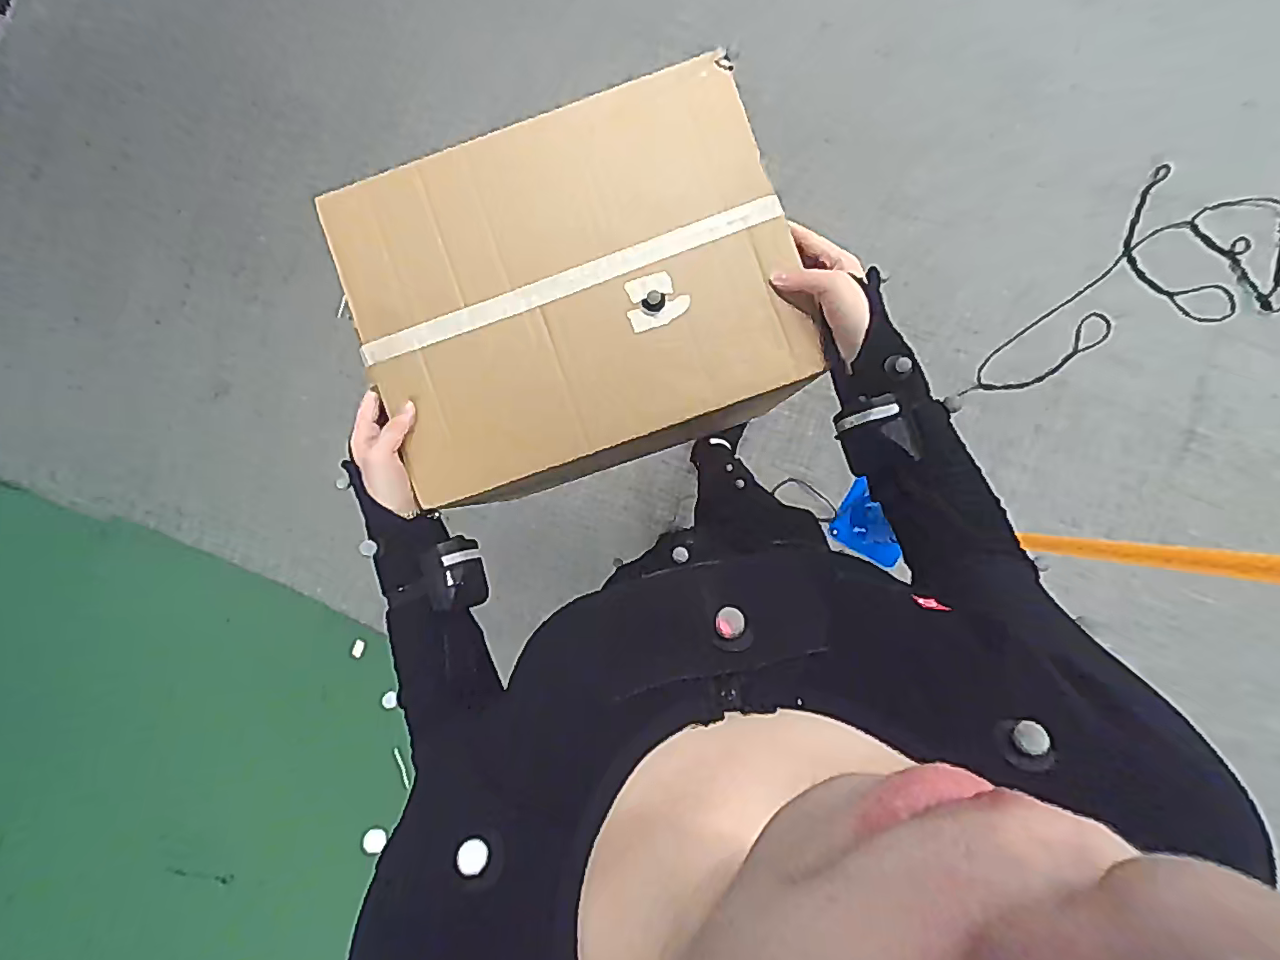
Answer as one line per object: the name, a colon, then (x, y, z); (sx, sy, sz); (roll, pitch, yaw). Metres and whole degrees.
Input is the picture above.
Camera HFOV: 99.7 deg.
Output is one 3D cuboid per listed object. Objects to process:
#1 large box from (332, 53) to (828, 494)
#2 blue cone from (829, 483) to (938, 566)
large box: (-0.058, -0.191, 0.655); (0.408, 0.320, 0.320); (-19, 89, 0)
blue cone: (0.613, 0.117, 1.287); (0.193, 0.380, 0.192); (30, 93, 5)
